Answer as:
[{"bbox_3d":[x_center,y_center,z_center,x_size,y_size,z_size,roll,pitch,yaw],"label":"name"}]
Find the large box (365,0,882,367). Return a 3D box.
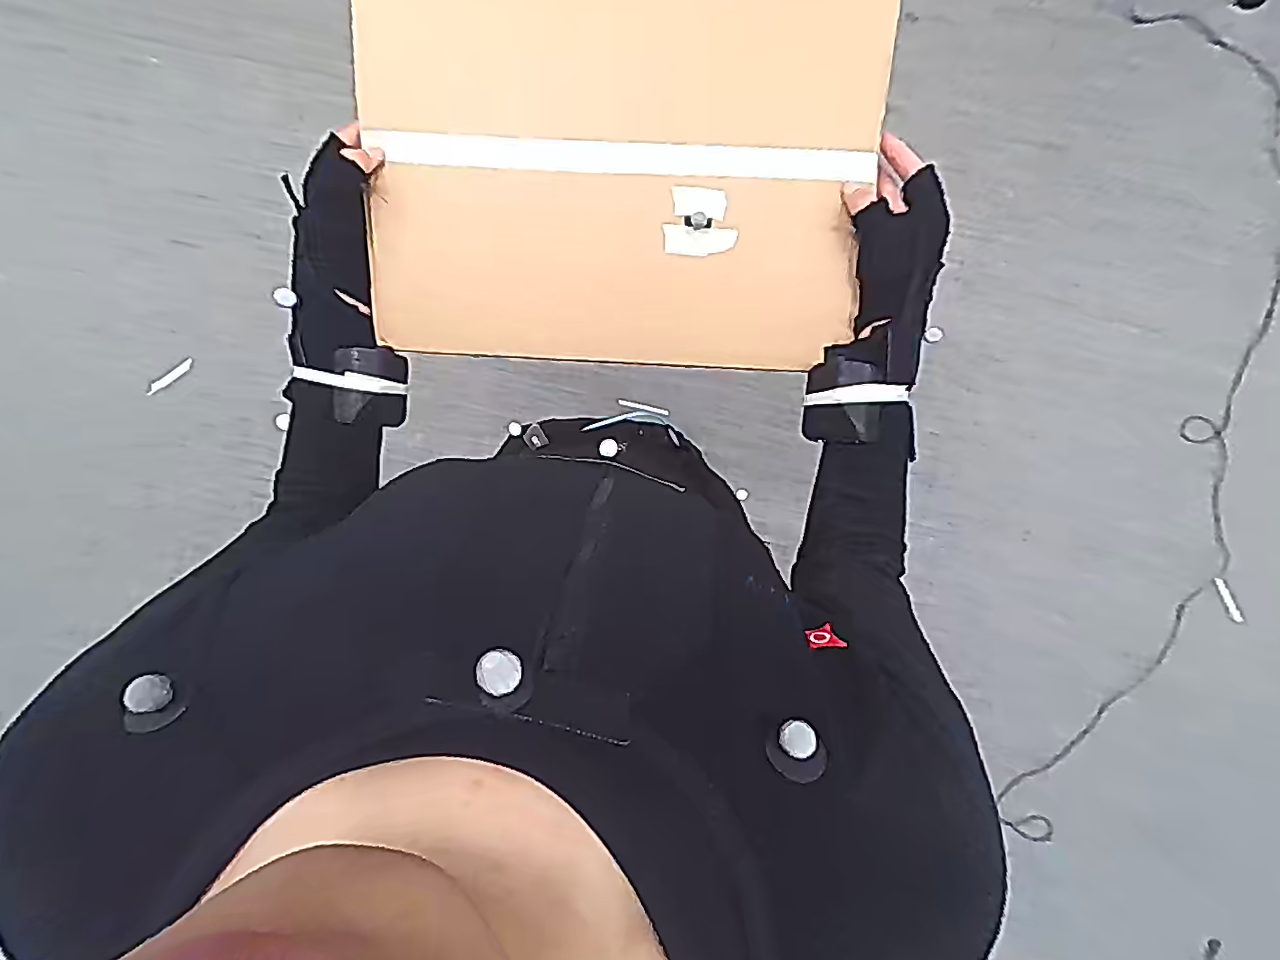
[{"bbox_3d":[-0.018,-0.290,0.585,0.408,0.320,0.320,2,105,0],"label":"large box"}]
